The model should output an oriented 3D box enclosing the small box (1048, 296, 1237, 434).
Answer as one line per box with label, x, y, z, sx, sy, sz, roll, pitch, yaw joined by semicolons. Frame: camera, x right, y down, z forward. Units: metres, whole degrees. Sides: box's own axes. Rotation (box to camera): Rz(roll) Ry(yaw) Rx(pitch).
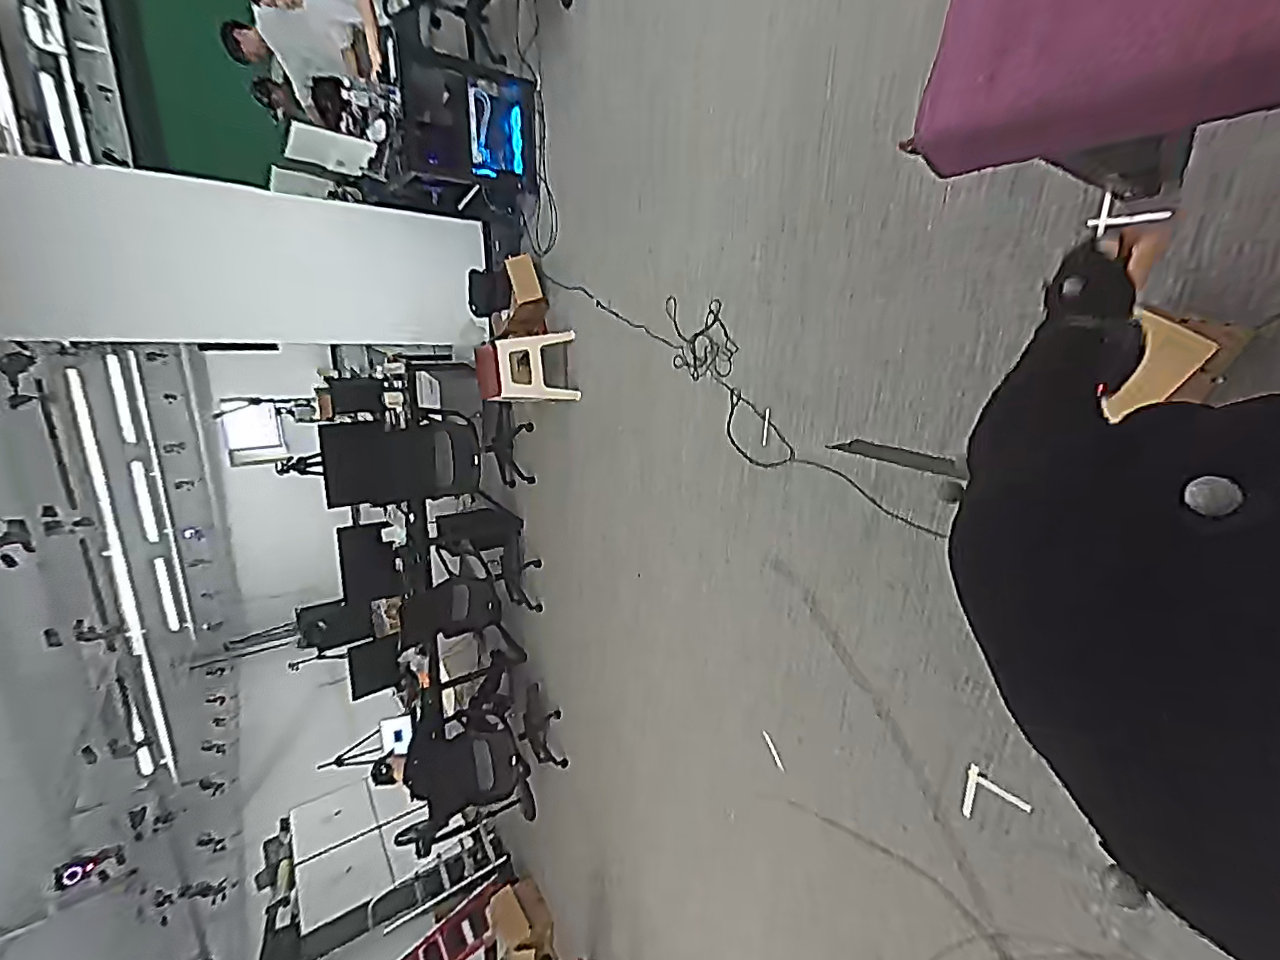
small box;0.886;-0.206;0.955;0.168;0.176;0.179;53;138;34
